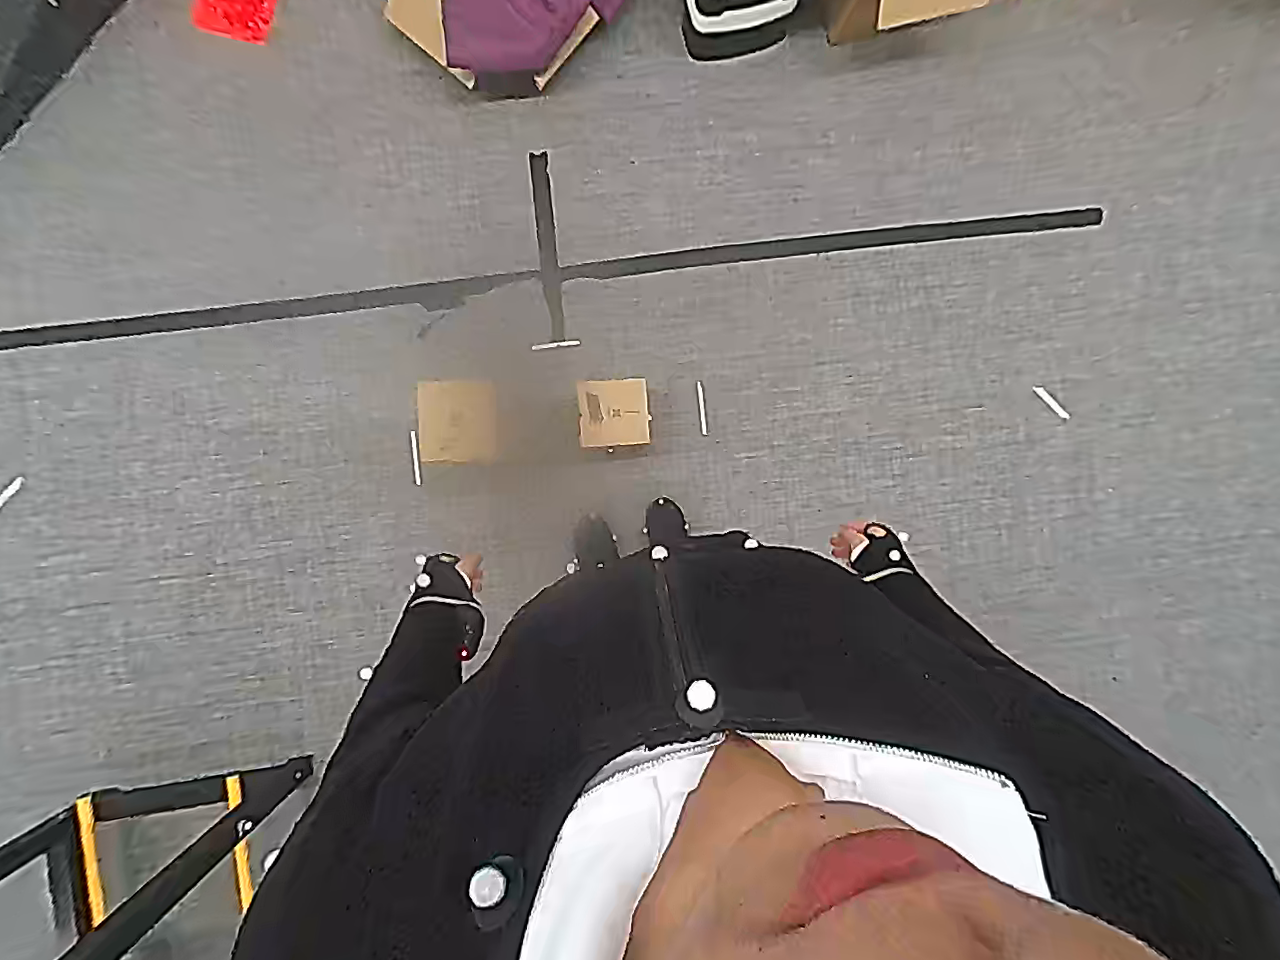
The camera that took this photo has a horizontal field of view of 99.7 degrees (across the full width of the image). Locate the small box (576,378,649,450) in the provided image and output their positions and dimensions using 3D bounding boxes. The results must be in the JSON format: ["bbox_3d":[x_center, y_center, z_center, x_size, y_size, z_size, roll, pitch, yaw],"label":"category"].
[{"bbox_3d":[-0.071,-0.170,1.426,0.179,0.176,0.168,-4,91,-3],"label":"small box"}]

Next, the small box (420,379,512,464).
[{"bbox_3d":[-0.395,-0.130,1.245,0.168,0.176,0.179,-2,91,-2],"label":"small box"}]
